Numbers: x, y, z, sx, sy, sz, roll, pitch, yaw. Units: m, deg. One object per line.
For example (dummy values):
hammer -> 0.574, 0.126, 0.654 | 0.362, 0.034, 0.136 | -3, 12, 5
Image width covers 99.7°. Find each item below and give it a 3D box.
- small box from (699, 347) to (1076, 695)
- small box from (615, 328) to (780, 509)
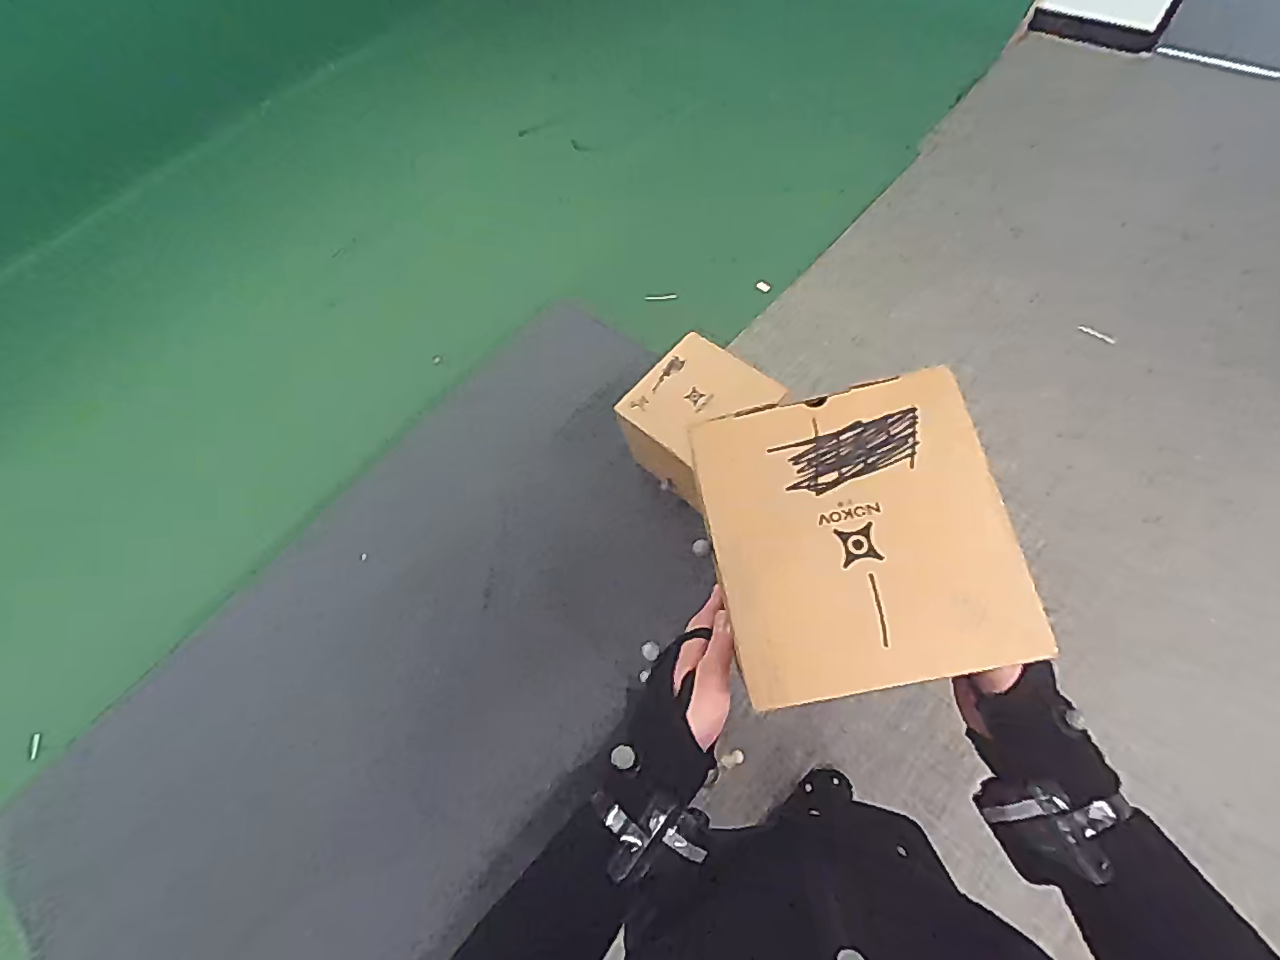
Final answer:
small box -> 0.138, 0.038, 0.379 | 0.168, 0.176, 0.179 | -12, 74, 6
small box -> 0.094, -0.077, 0.788 | 0.179, 0.176, 0.168 | 40, 78, 24
